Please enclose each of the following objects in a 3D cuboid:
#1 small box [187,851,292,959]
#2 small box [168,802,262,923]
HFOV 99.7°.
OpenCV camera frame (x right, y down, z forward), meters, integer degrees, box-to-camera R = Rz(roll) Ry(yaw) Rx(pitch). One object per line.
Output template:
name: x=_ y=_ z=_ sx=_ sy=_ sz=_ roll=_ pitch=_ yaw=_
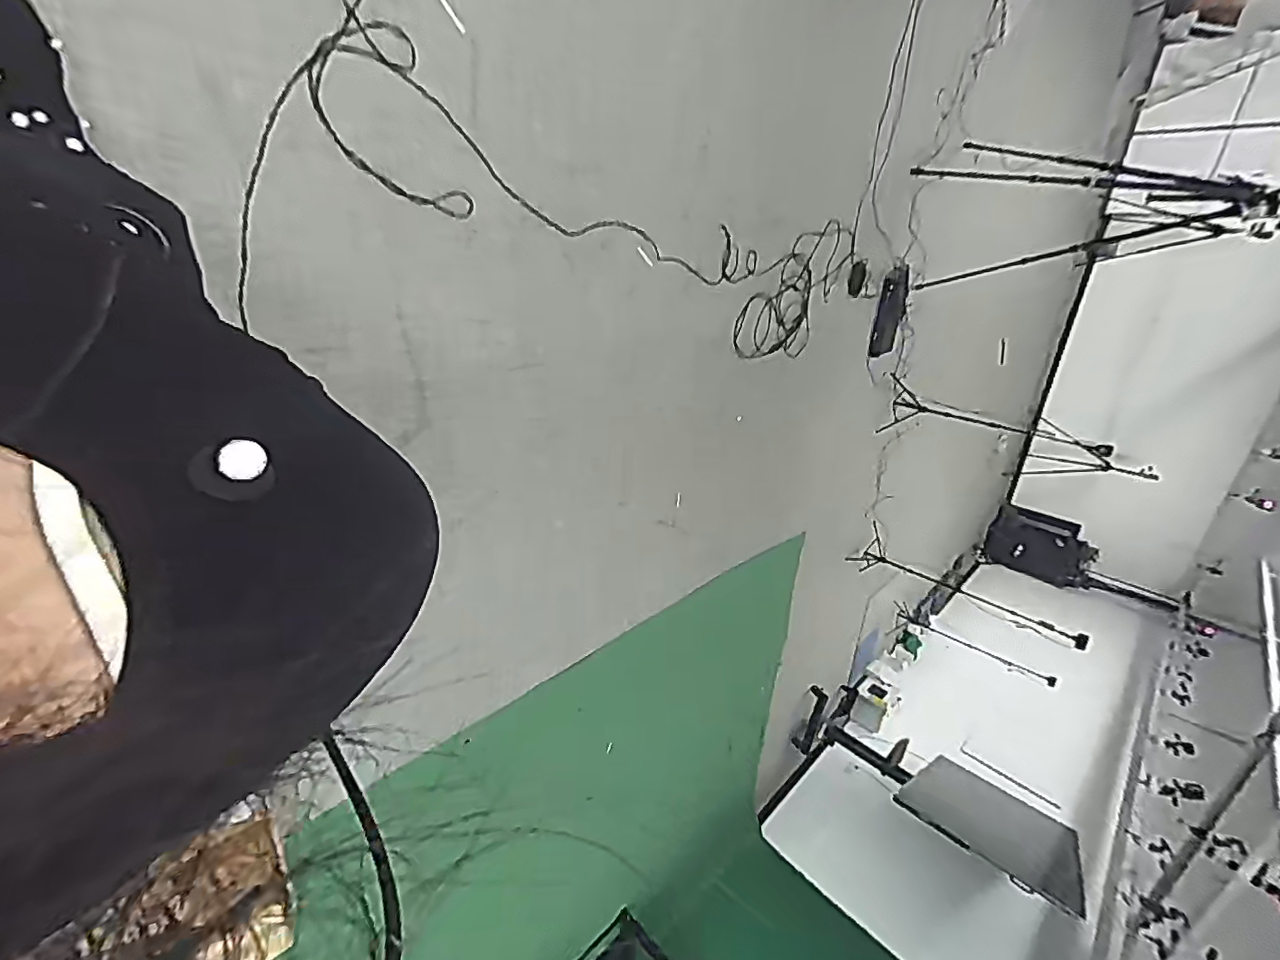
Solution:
small box: x=-0.976 y=1.056 z=1.318 sx=0.168 sy=0.176 sz=0.179 roll=-16 pitch=119 yaw=-43
small box: x=-1.097 y=0.996 z=1.412 sx=0.168 sy=0.176 sz=0.179 roll=-22 pitch=122 yaw=-40
